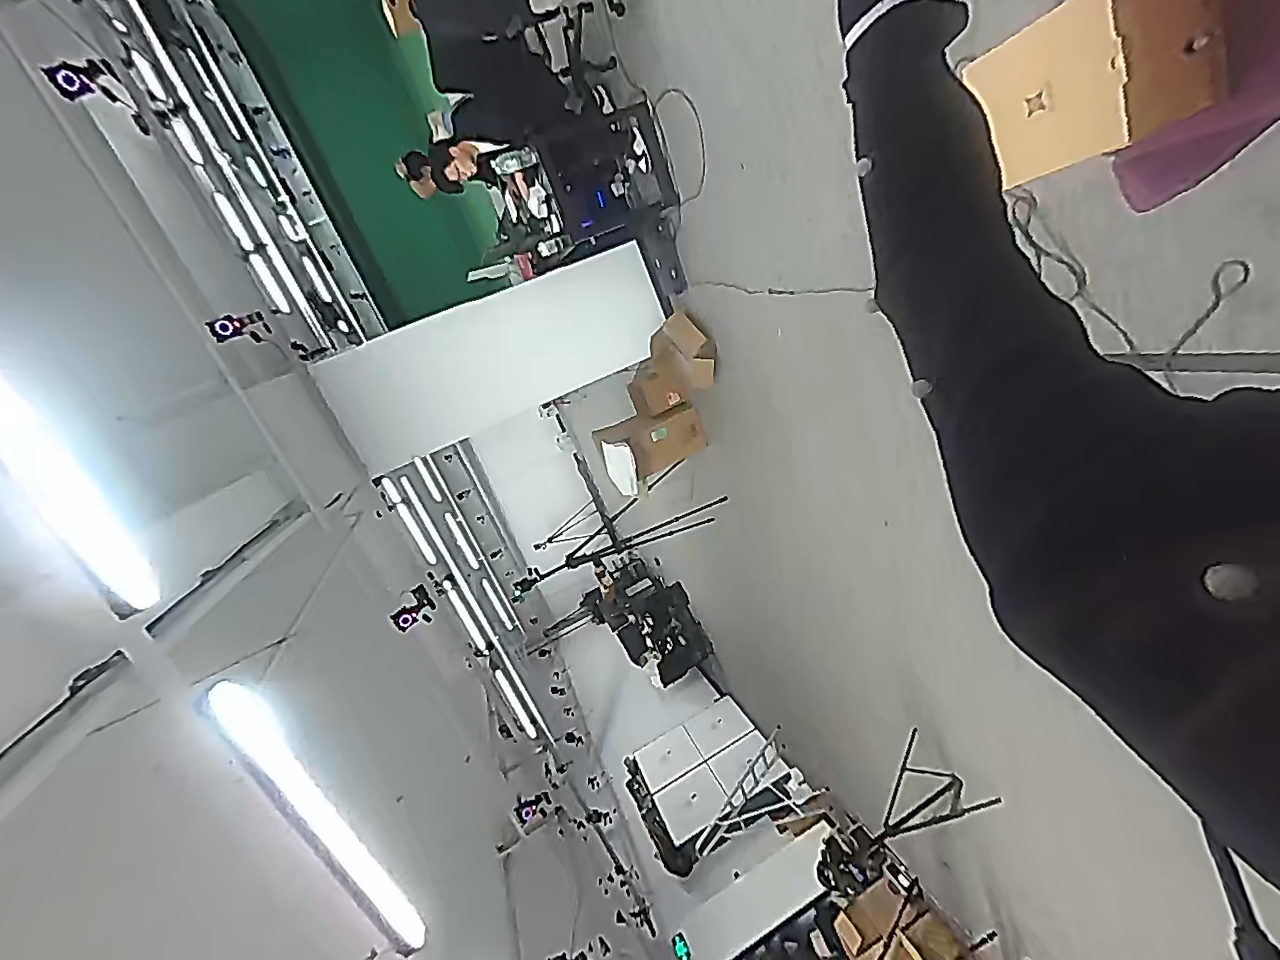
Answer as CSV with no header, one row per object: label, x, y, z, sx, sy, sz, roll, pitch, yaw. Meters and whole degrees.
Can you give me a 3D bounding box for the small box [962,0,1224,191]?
small box,0.545,-0.489,0.662,0.168,0.176,0.179,67,167,-15
